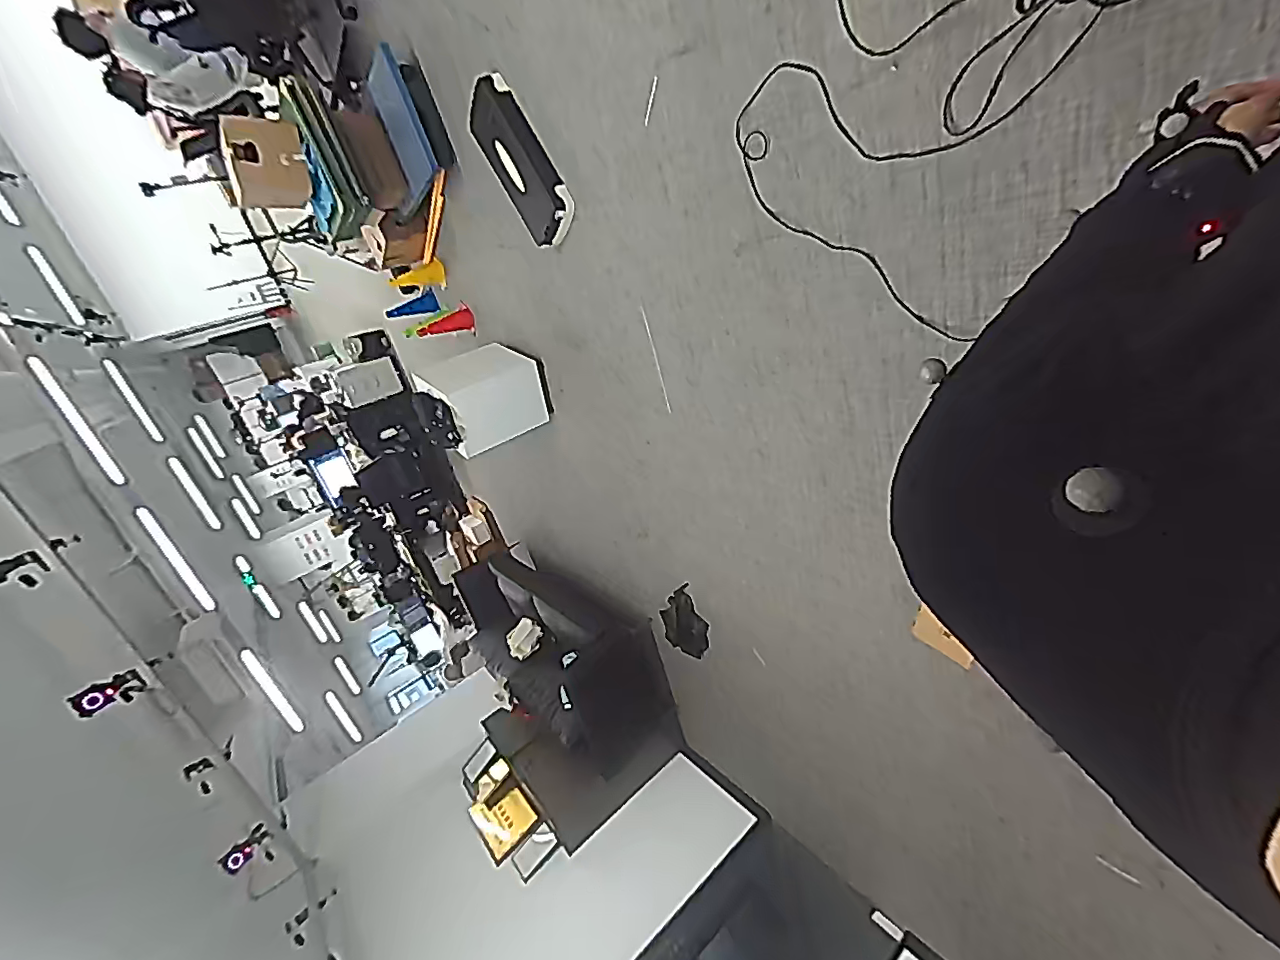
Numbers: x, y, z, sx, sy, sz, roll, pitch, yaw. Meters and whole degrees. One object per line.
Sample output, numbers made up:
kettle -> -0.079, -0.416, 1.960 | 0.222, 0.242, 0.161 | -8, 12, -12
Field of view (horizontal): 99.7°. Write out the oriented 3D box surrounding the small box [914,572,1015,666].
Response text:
small box -> 0.946, 0.396, 1.582 | 0.179, 0.176, 0.168 | 33, 142, 39

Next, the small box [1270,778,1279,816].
small box -> 1.390, 0.594, 1.050 | 0.168, 0.176, 0.179 | 22, 133, 49
